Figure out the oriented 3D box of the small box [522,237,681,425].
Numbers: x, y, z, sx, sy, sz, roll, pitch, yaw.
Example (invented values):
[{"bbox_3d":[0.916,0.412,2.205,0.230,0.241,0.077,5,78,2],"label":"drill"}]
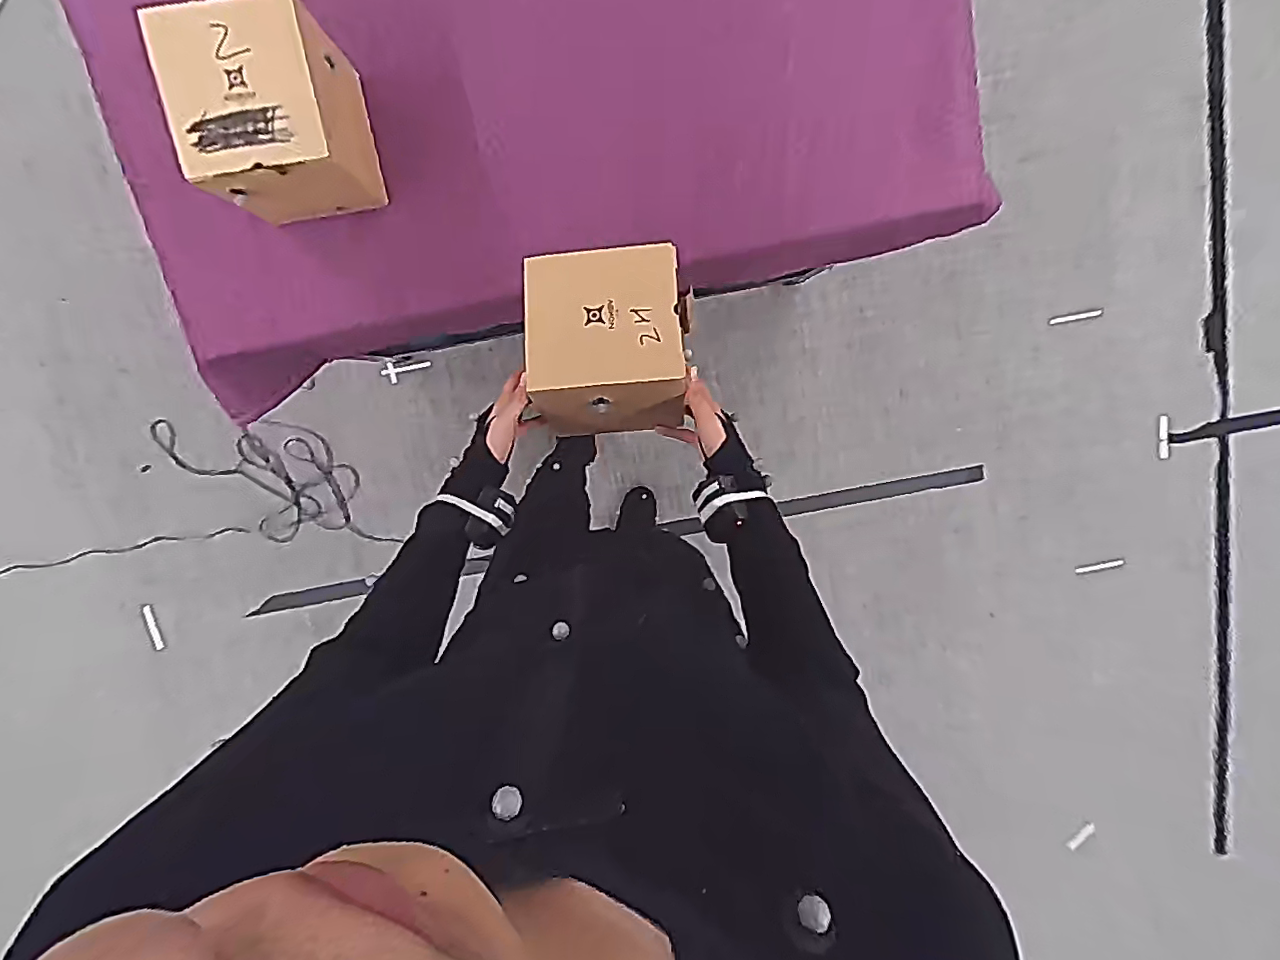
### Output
[{"bbox_3d":[-0.039,-0.173,0.676,0.179,0.176,0.168,-3,78,2],"label":"small box"}]
